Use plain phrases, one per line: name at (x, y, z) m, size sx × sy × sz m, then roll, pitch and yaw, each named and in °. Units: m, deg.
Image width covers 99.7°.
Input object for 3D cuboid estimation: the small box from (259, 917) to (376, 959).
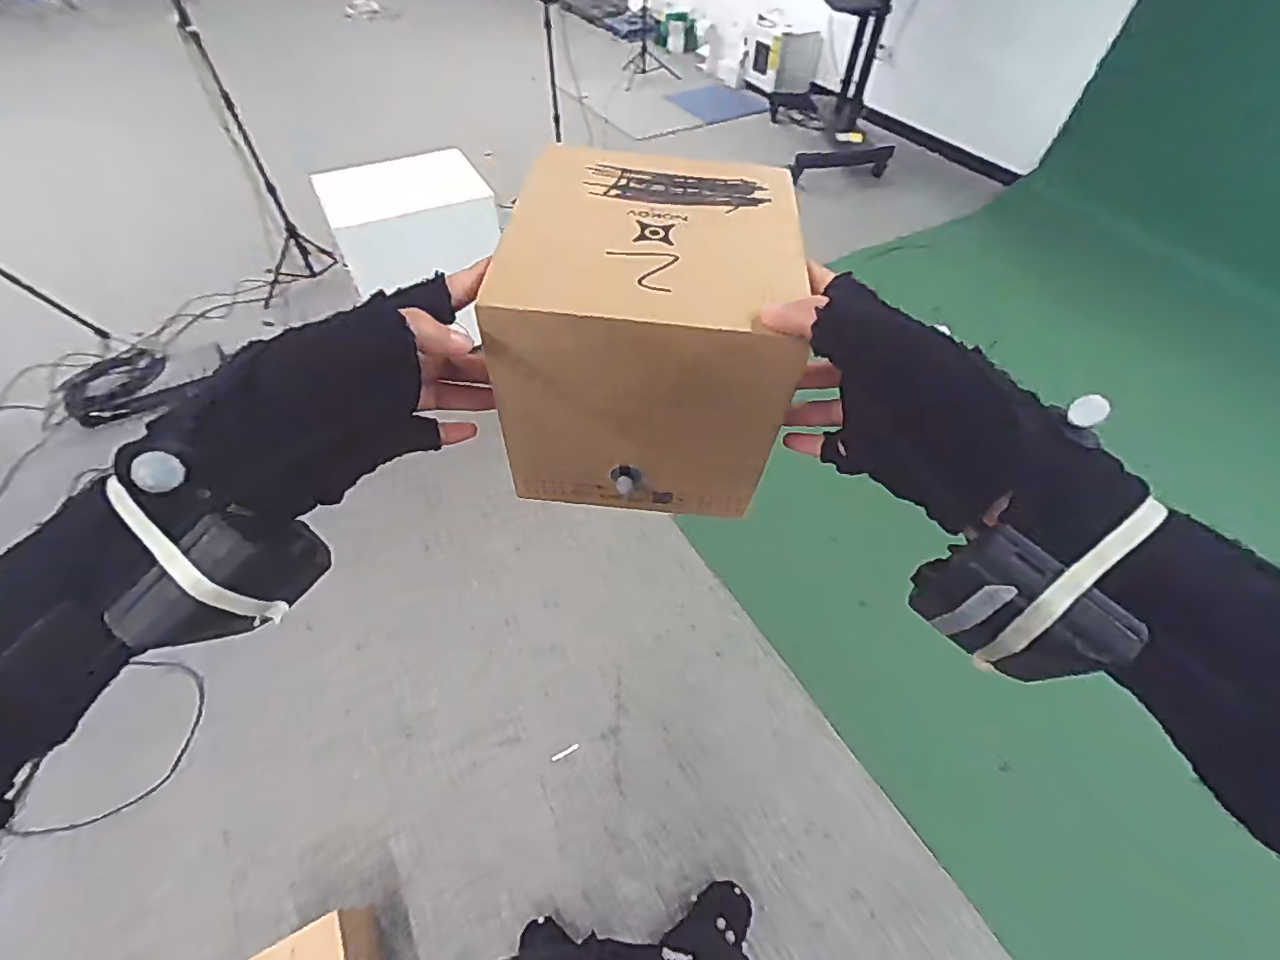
small box at (-0.596, 0.947, 0.995) m, size 0.168 × 0.176 × 0.179 m, roll -22°, pitch 56°, yaw -17°
